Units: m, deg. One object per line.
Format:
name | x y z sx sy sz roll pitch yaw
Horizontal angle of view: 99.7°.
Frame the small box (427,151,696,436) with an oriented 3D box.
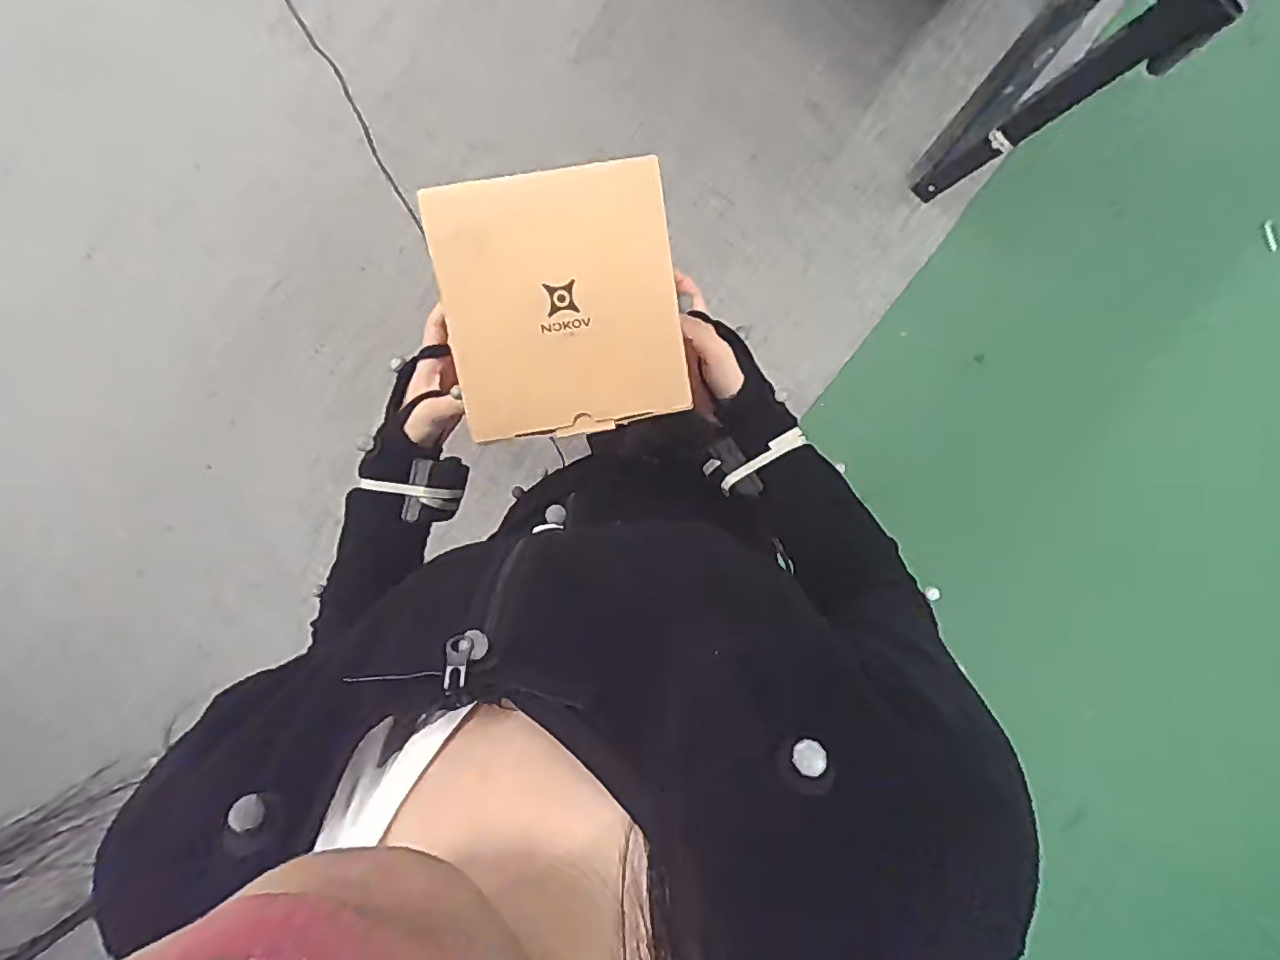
small box | -0.059 -0.143 0.455 0.168 0.176 0.179 -10 104 -4
